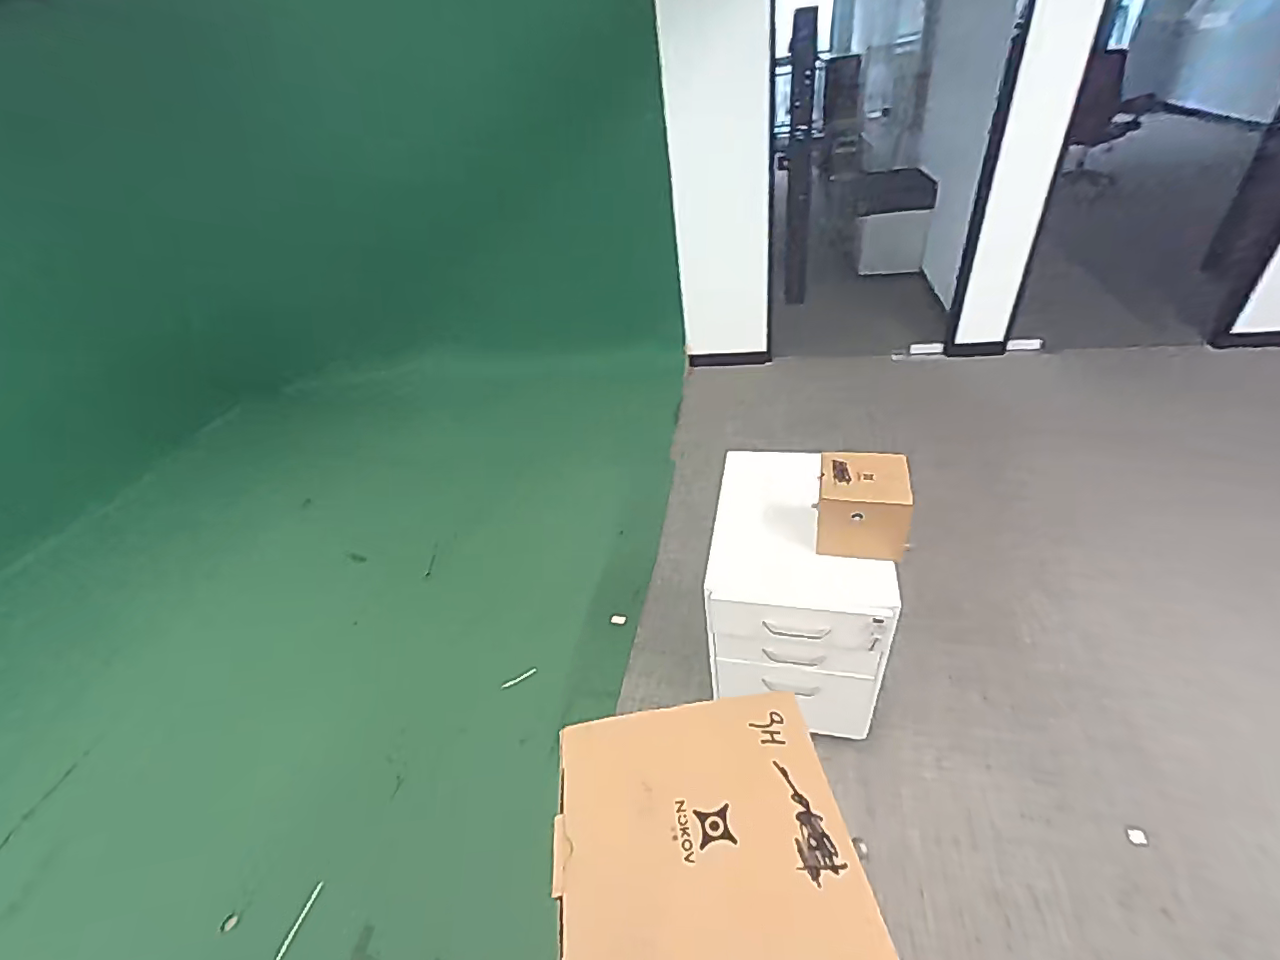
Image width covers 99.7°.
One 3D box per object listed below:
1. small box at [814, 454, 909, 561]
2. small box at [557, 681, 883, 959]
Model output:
[{"bbox_3d":[0.481,0.061,1.197,0.179,0.176,0.168,4,40,17],"label":"small box"},{"bbox_3d":[0.044,0.275,0.388,0.179,0.176,0.168,-8,35,-2],"label":"small box"}]
